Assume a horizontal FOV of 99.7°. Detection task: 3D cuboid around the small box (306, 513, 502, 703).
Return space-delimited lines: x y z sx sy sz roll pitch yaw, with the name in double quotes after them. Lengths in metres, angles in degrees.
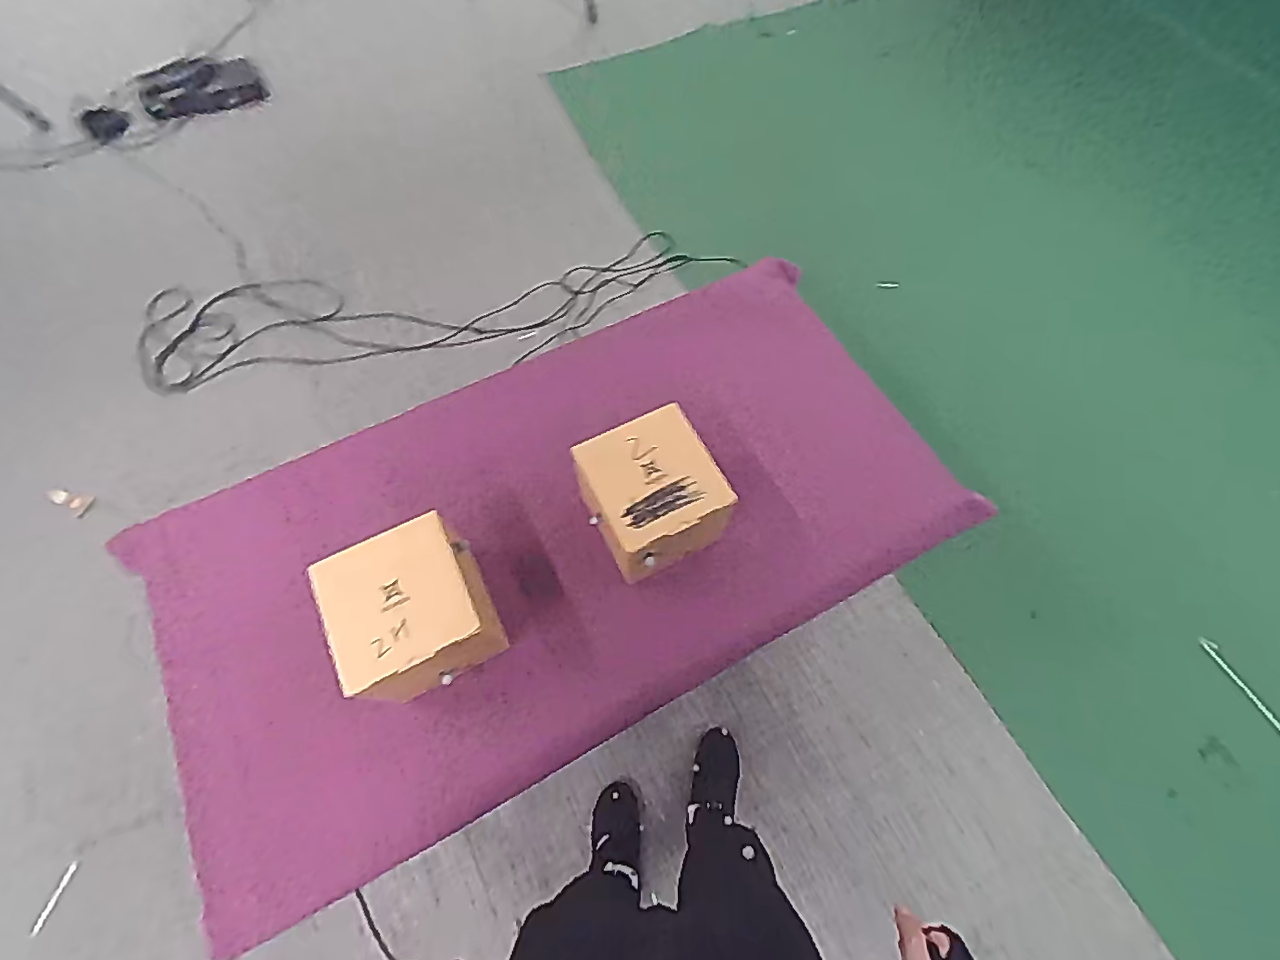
-0.302 0.177 0.720 0.168 0.176 0.179 -25 68 -12 "small box"
